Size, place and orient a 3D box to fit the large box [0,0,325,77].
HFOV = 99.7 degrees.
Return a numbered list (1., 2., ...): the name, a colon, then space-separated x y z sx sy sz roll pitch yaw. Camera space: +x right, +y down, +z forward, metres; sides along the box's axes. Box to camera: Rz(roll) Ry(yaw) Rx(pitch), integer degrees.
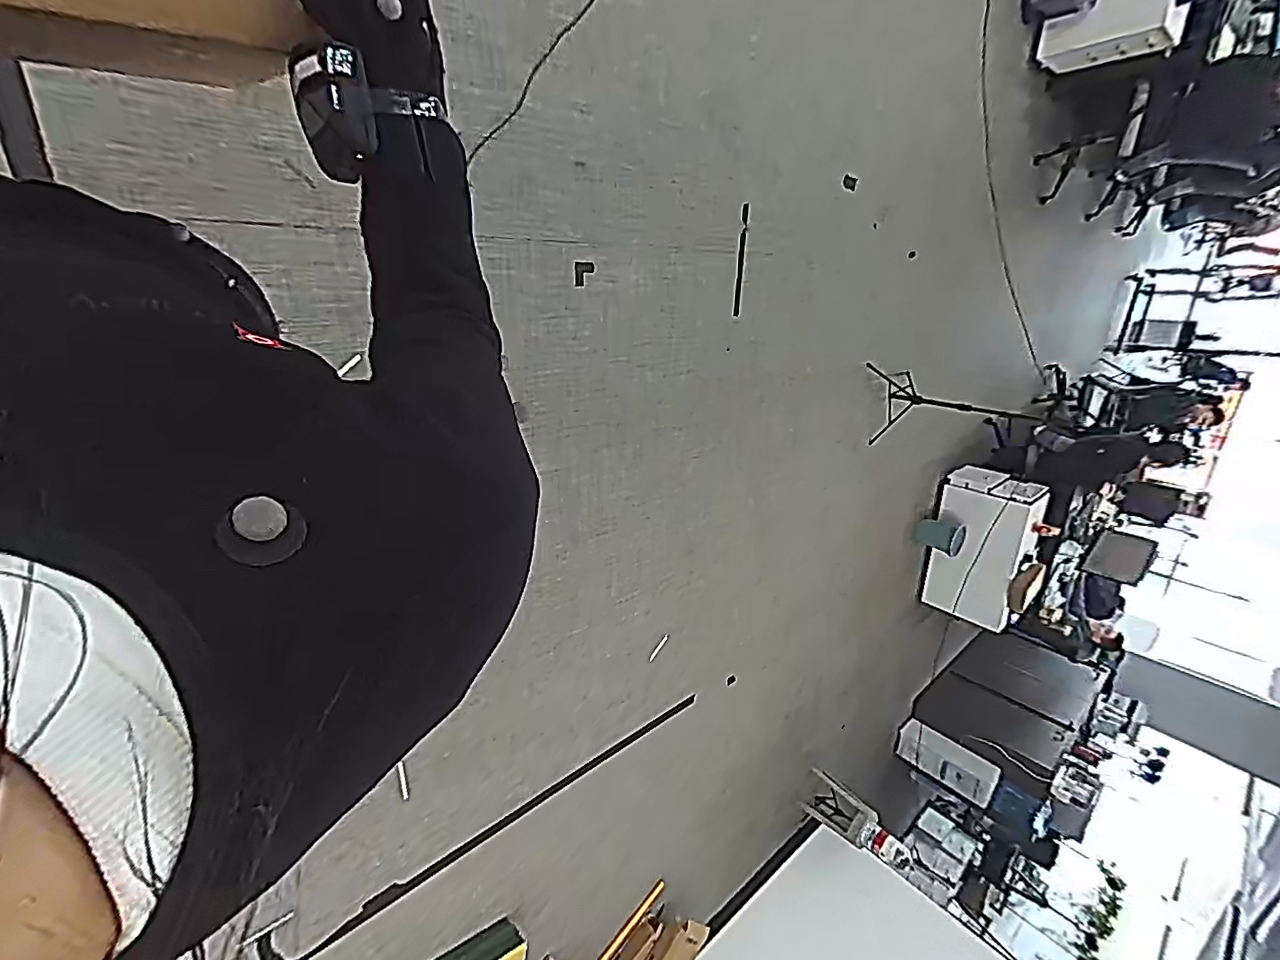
1. large box: -0.444 -0.415 0.256 0.408 0.320 0.320 -21 129 -37
